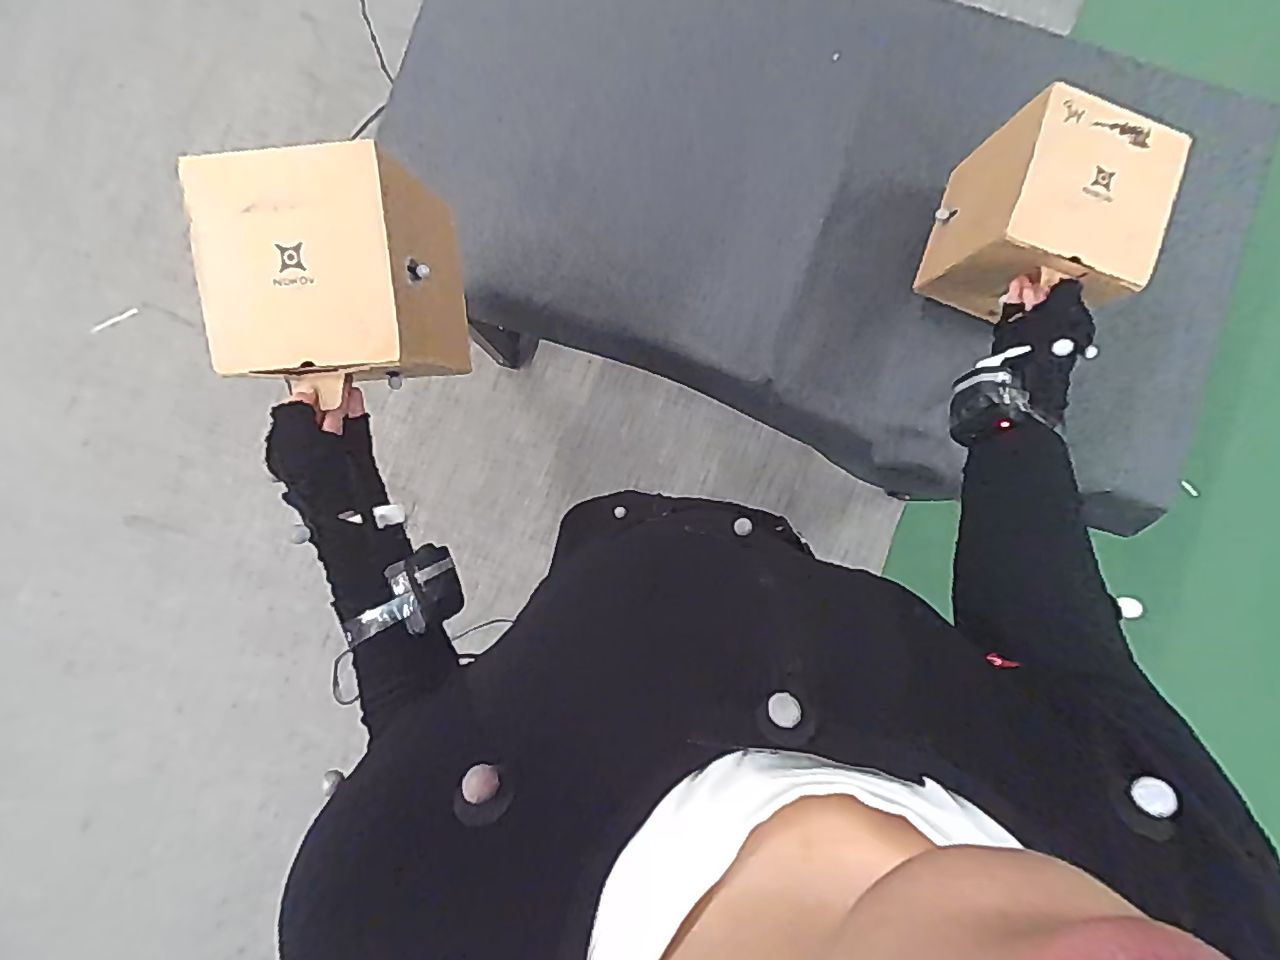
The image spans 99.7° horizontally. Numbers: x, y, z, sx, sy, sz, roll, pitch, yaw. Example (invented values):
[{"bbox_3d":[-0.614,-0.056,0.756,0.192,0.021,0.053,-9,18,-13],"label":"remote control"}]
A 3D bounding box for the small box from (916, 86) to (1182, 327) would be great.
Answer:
[{"bbox_3d":[0.467,-0.305,0.648,0.168,0.176,0.179,19,89,-5],"label":"small box"}]

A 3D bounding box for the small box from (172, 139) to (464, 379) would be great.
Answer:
[{"bbox_3d":[-0.280,-0.188,0.514,0.168,0.176,0.179,-4,98,2],"label":"small box"}]
